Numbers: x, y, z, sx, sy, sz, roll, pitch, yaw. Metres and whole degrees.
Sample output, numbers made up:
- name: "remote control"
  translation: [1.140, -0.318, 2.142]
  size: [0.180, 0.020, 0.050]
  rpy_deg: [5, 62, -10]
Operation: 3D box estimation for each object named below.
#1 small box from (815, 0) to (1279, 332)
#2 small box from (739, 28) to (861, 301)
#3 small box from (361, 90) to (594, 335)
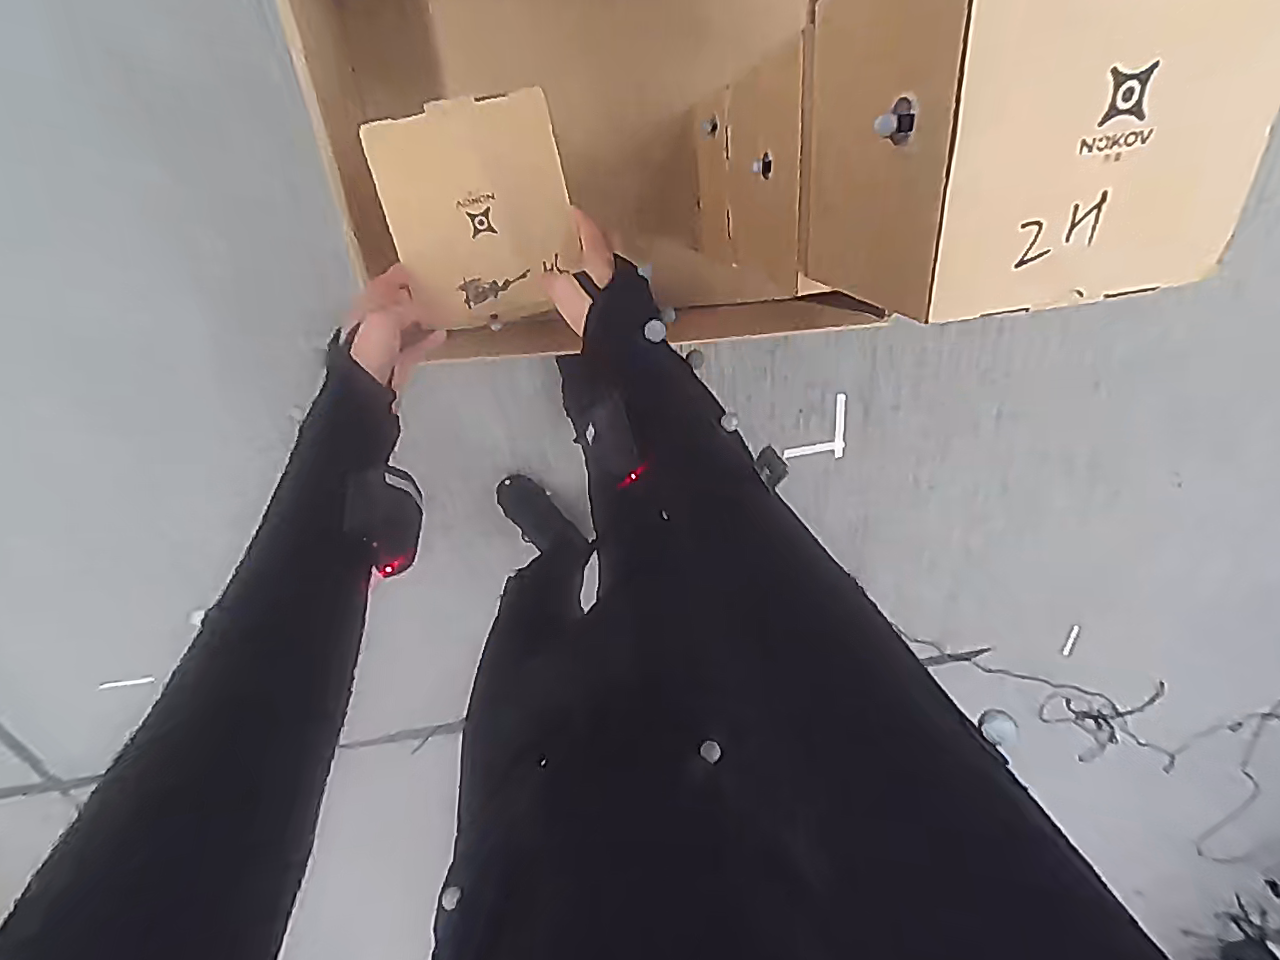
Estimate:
- name: "small box"
  translation: [0.215, -0.203, 0.320]
  size: [0.168, 0.176, 0.179]
  rpy_deg: [-9, 120, -2]
- name: "small box"
  translation: [0.189, -0.270, 0.468]
  size: [0.168, 0.176, 0.179]
  rpy_deg: [-9, 119, -3]
- name: "small box"
  translation: [-0.146, -0.252, 0.555]
  size: [0.168, 0.176, 0.179]
  rpy_deg: [-13, 106, 0]
